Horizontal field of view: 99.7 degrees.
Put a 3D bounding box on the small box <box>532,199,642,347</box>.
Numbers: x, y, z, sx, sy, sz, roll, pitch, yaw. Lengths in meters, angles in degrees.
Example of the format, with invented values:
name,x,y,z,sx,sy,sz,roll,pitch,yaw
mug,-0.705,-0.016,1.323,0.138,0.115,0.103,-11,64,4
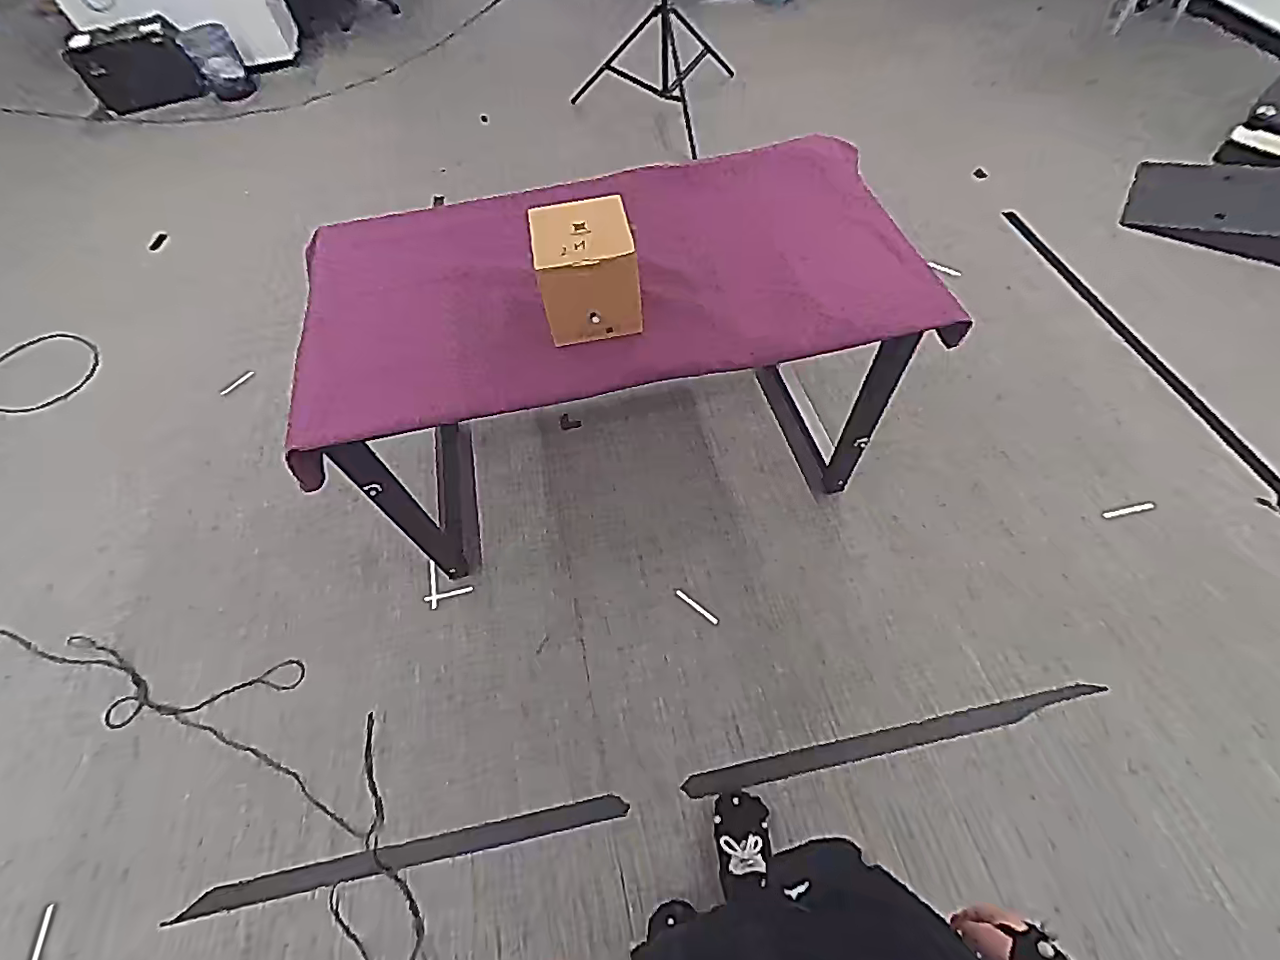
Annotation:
name,x,y,z,sx,sy,sz,roll,pitch,yaw
small box,-0.093,-0.370,0.976,0.168,0.176,0.179,-11,58,-2
